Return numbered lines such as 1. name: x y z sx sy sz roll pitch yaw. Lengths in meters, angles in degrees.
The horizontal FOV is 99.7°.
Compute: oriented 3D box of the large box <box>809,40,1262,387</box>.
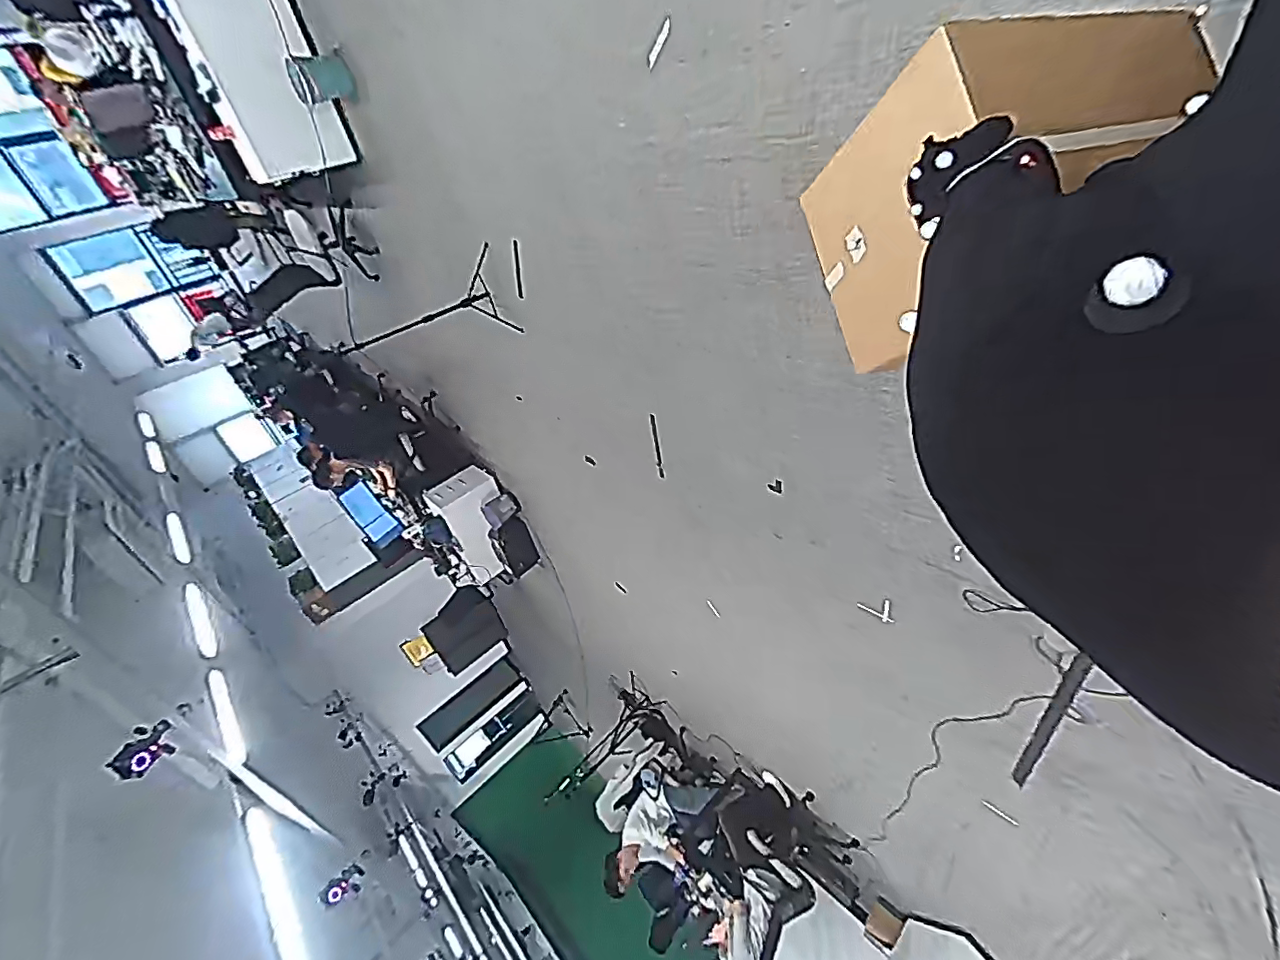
1. large box: 0.536 -0.365 0.796 0.320 0.408 0.320 148 106 -74
